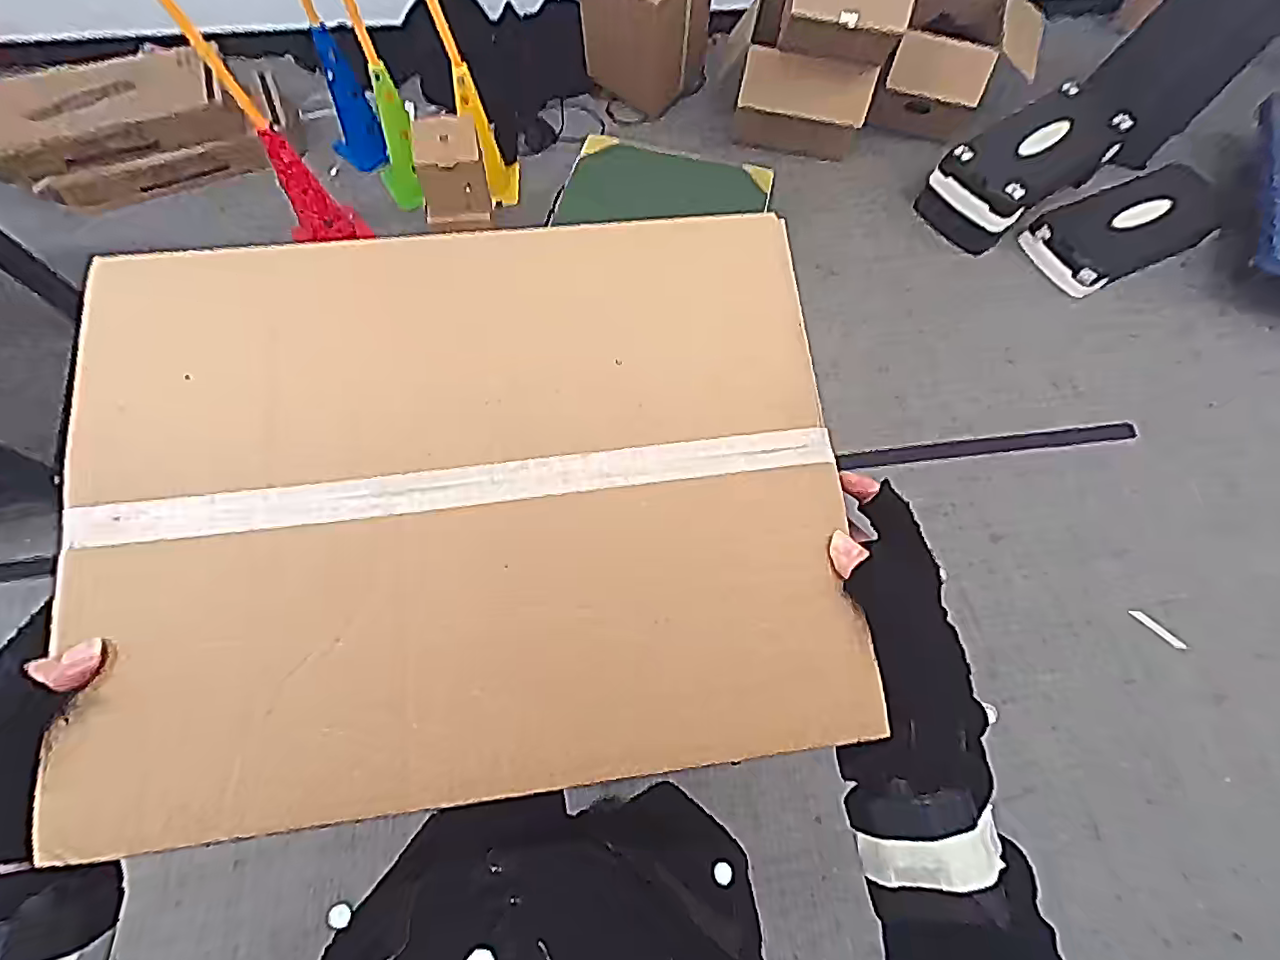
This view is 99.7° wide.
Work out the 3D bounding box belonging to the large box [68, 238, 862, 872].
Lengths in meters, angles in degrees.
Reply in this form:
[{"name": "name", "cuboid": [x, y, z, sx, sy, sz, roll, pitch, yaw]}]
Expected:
[{"name": "large box", "cuboid": [-0.102, 0.046, 0.448, 0.408, 0.320, 0.320, -6, 77, -5]}]
